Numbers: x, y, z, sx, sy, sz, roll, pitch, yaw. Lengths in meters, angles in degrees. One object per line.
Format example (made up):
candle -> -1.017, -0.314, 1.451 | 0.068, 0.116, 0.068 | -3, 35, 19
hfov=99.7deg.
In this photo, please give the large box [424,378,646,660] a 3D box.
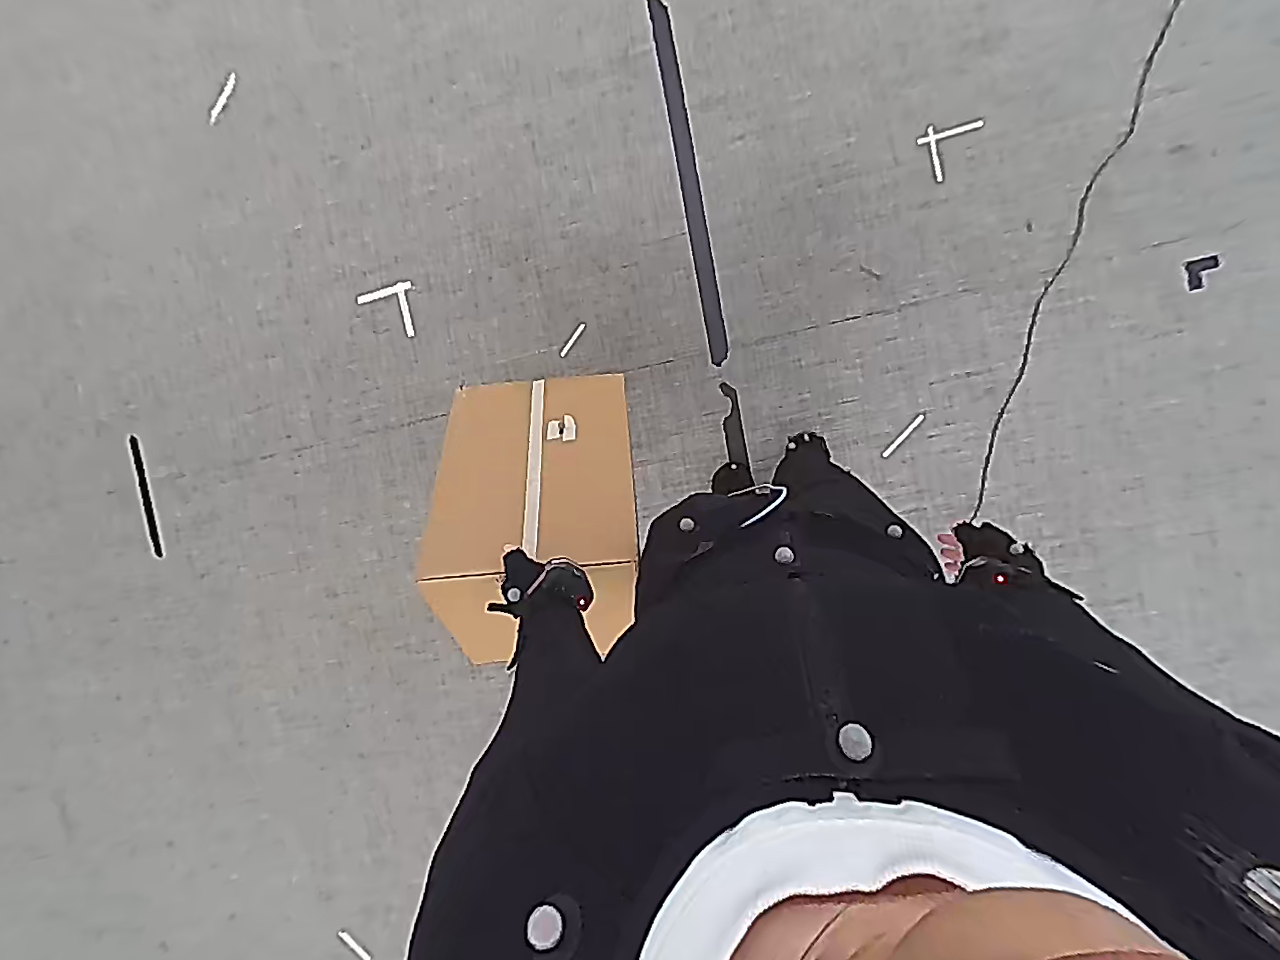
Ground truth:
large box -> -0.163, 0.069, 0.991 | 0.320, 0.320, 0.408 | -4, 50, -2
